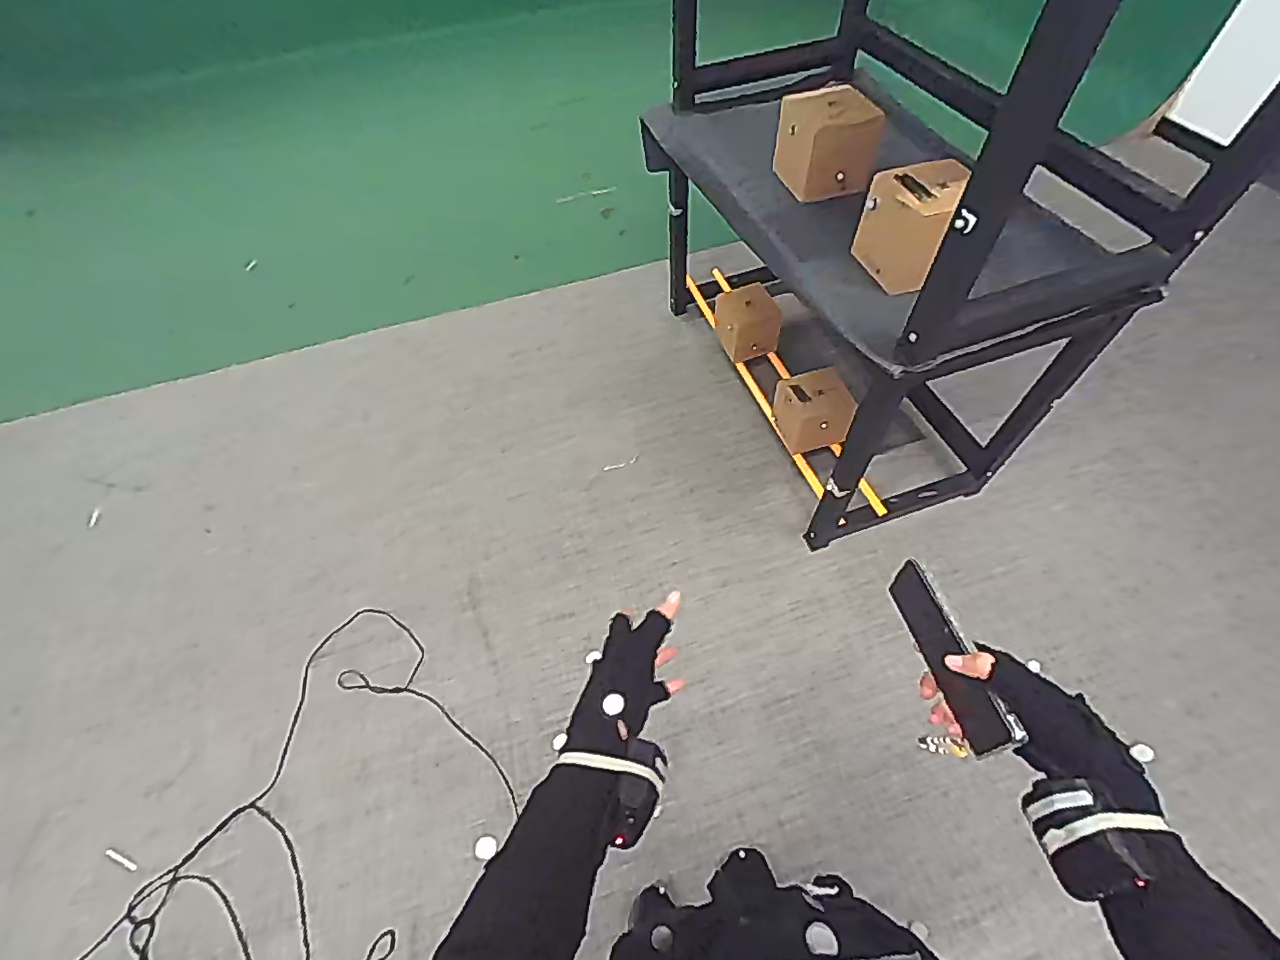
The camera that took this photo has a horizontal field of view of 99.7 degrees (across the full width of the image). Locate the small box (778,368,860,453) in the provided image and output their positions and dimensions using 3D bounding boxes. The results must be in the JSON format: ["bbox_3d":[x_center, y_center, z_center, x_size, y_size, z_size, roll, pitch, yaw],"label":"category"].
[{"bbox_3d":[0.525,-0.203,1.622,0.179,0.176,0.168,-15,56,-5],"label":"small box"}]

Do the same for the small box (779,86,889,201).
[{"bbox_3d":[0.443,-0.787,1.270,0.168,0.176,0.179,-15,56,-6],"label":"small box"}]
